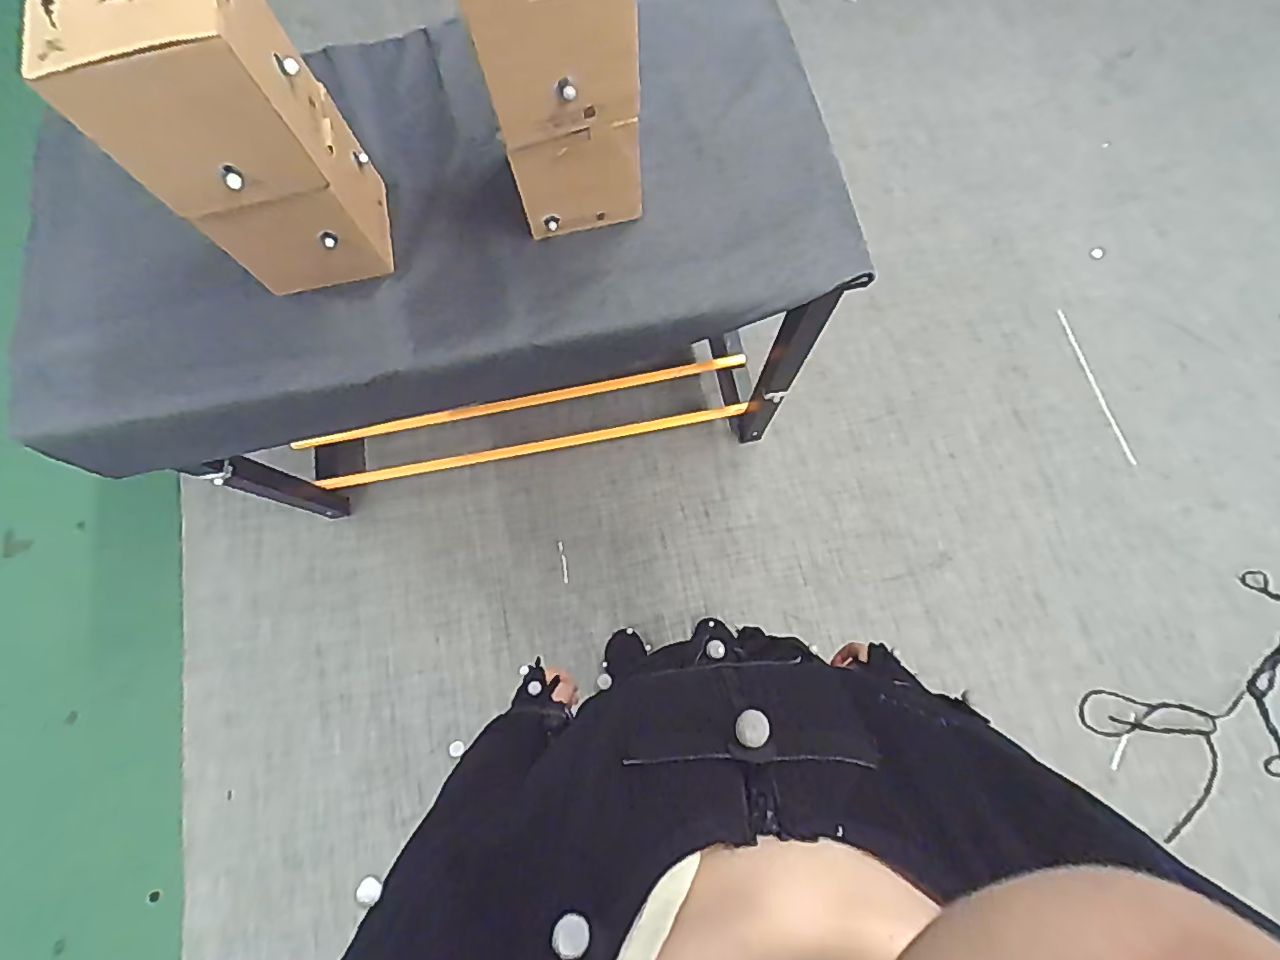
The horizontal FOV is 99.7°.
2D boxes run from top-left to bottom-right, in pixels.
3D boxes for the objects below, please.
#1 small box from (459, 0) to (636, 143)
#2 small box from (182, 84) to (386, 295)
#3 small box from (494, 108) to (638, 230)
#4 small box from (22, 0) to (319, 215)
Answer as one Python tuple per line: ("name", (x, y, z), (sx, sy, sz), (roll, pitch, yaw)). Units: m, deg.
("small box", (-0.107, -0.512, 0.581), (0.168, 0.176, 0.179), (-18, 75, -3))
("small box", (-0.461, -0.377, 0.726), (0.179, 0.176, 0.168), (-13, 74, -1))
("small box", (-0.100, -0.472, 0.741), (0.168, 0.176, 0.179), (-13, 74, -2))
("small box", (-0.464, -0.416, 0.566), (0.179, 0.176, 0.168), (-15, 74, -3))
